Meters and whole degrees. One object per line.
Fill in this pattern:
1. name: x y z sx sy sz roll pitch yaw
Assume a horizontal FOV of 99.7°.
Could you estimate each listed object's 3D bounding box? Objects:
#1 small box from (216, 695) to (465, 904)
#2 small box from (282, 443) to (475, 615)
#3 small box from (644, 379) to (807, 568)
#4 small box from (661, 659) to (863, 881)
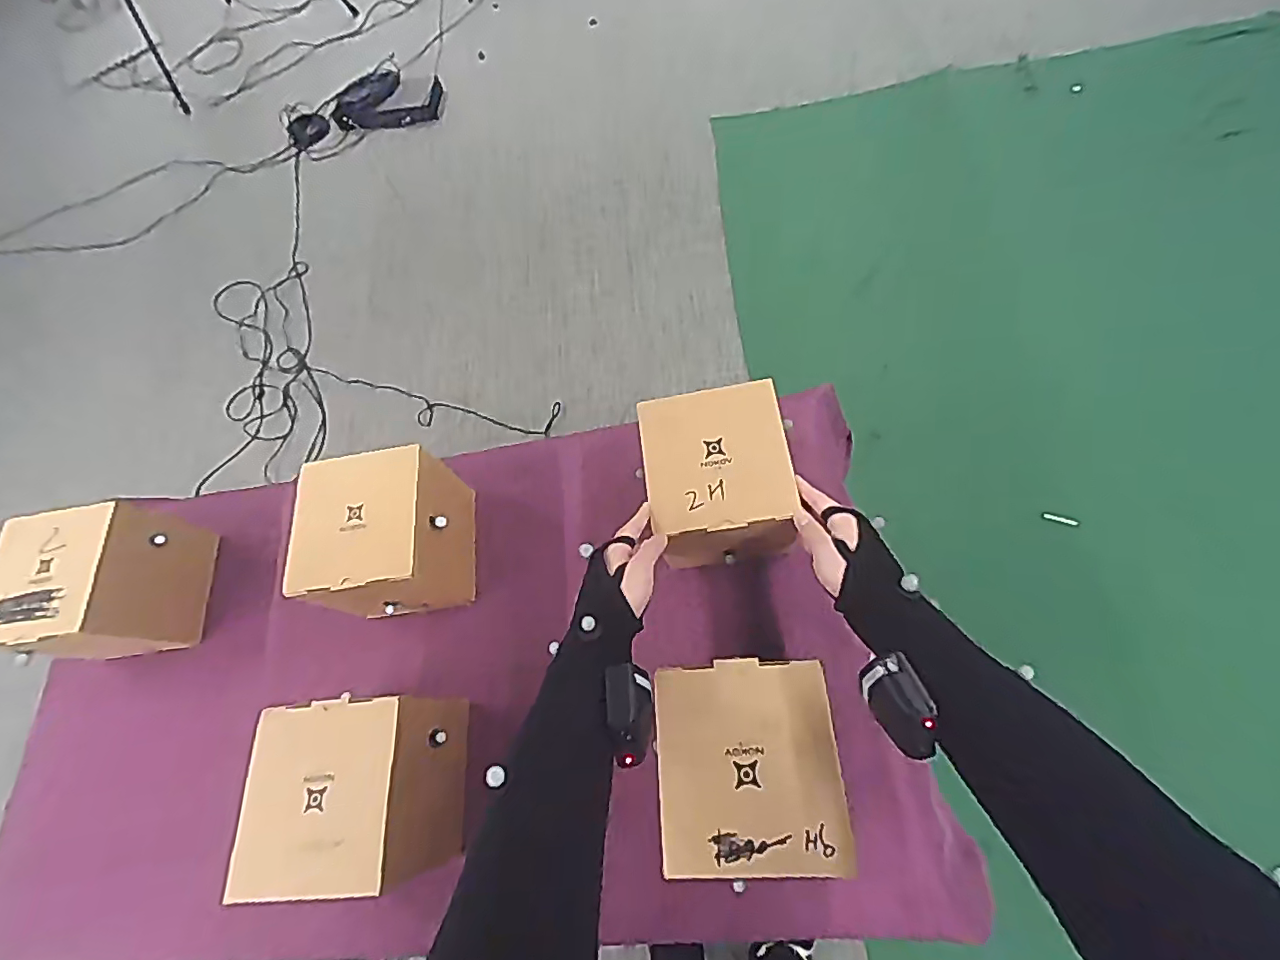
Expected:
1. small box: -0.311 0.343 0.606 0.168 0.176 0.179 -7 65 7
2. small box: -0.333 0.073 0.726 0.168 0.176 0.179 -8 67 5
3. small box: 0.103 0.001 0.683 0.168 0.176 0.179 -9 68 7
4. small box: 0.113 0.291 0.559 0.168 0.176 0.179 -6 63 8
